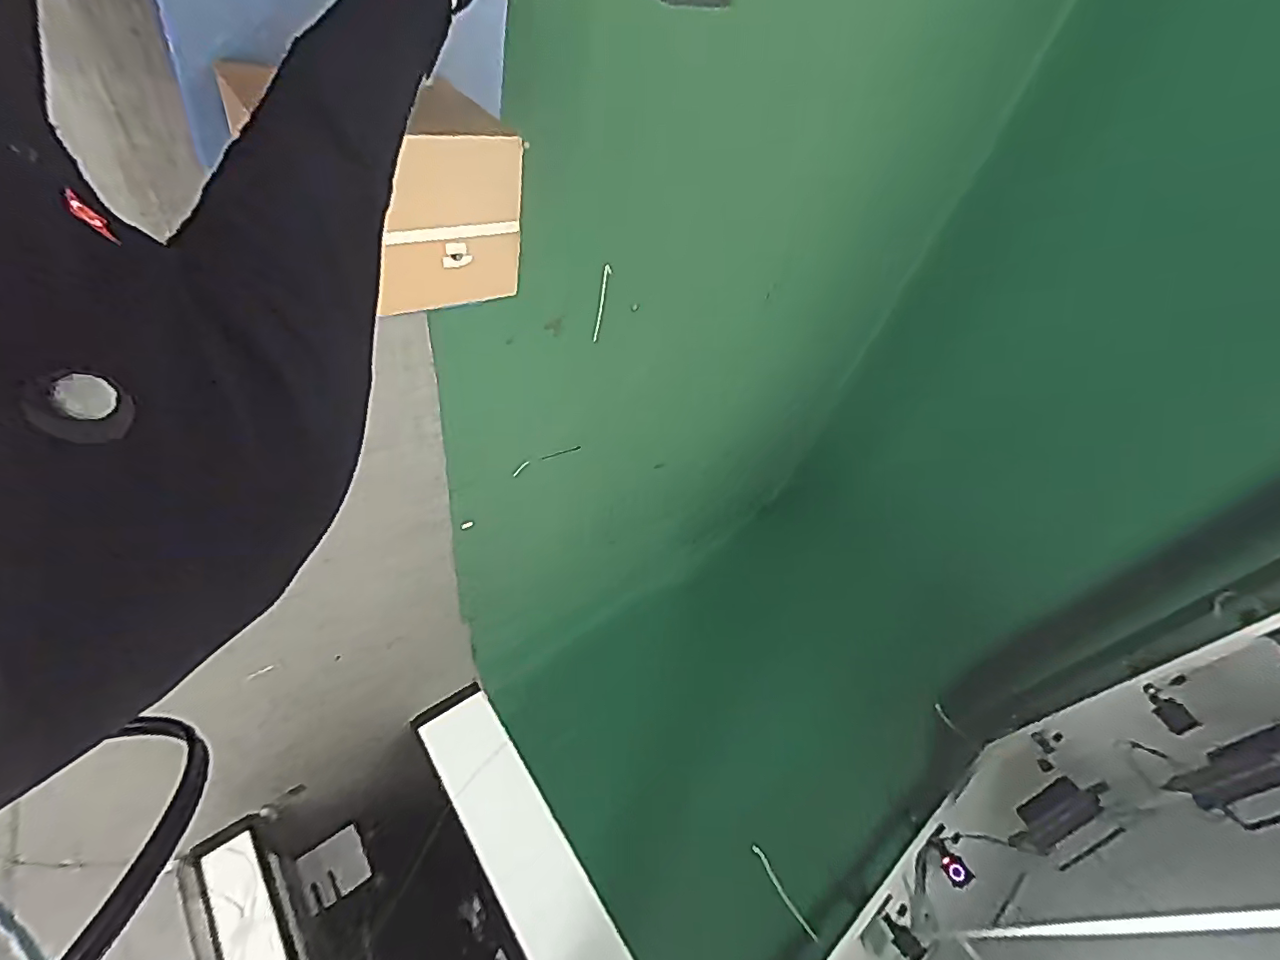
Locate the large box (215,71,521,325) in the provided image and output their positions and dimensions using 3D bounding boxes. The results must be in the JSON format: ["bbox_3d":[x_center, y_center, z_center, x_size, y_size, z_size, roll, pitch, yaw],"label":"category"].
[{"bbox_3d":[-0.483,-0.545,1.029,0.408,0.320,0.320,-25,149,-32],"label":"large box"}]
